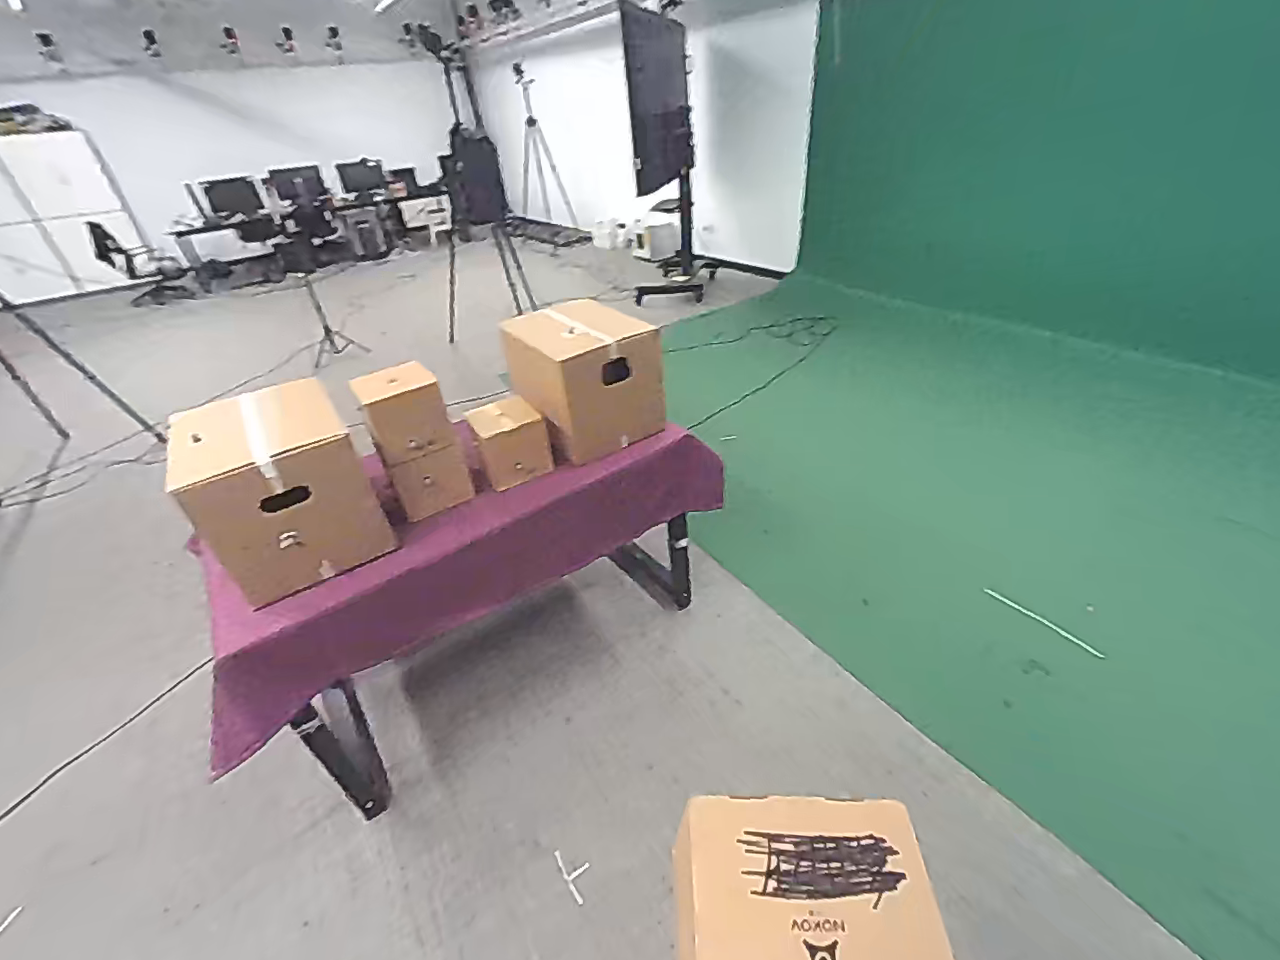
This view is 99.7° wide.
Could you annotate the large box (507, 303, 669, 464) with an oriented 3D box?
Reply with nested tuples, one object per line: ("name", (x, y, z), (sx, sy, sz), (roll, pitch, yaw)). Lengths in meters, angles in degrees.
("large box", (-0.152, -0.301, 1.610), (0.320, 0.320, 0.408), (-25, 40, -25))
